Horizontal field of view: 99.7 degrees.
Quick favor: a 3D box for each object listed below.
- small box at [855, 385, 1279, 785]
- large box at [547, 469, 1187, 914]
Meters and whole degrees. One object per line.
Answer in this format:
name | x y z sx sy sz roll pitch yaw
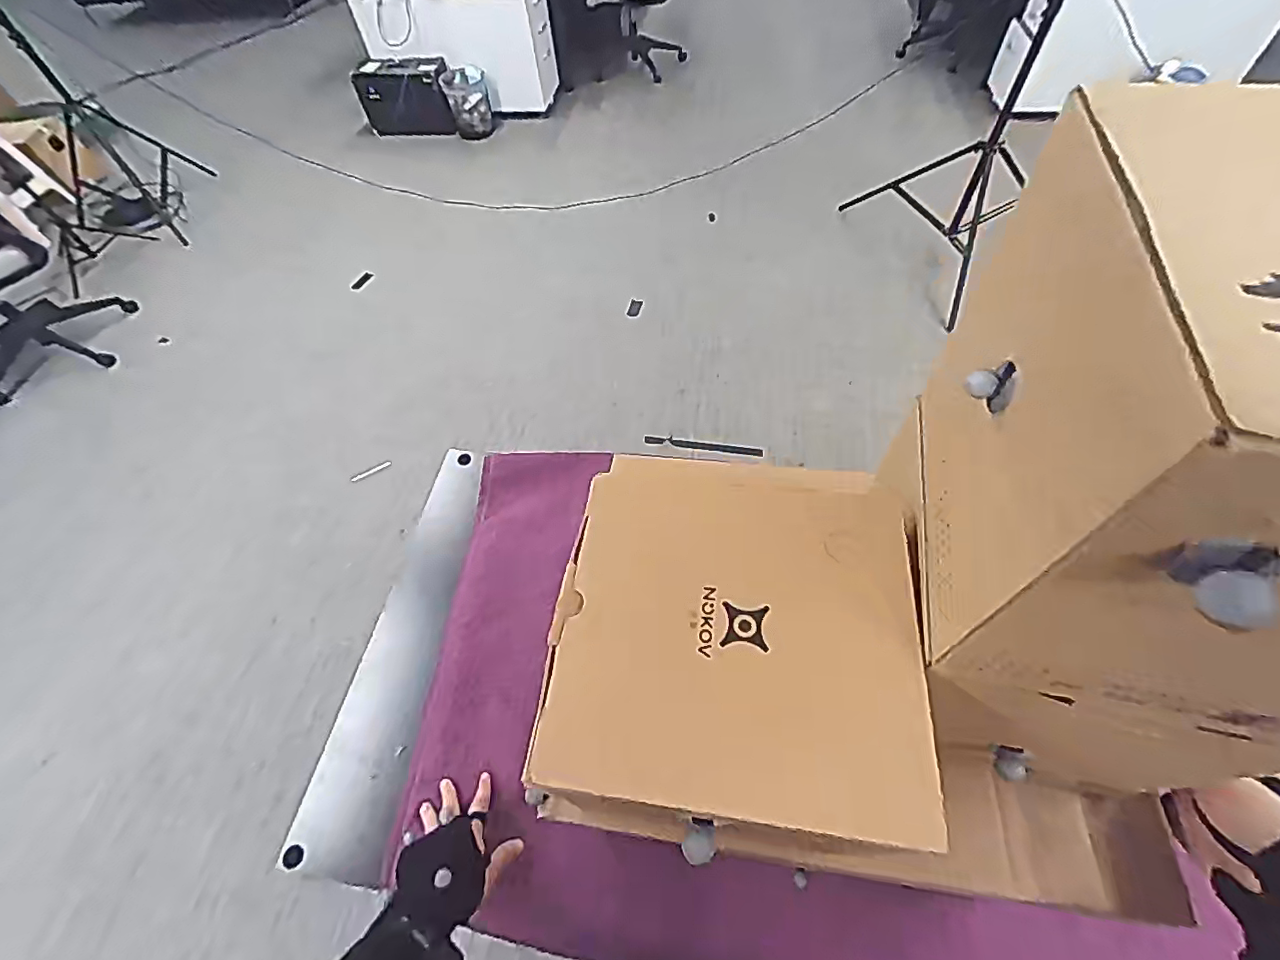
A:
small box | 0.240 0.069 0.339 0.168 0.176 0.179 9 57 12
large box | 0.162 0.207 0.550 0.408 0.320 0.320 3 54 8
